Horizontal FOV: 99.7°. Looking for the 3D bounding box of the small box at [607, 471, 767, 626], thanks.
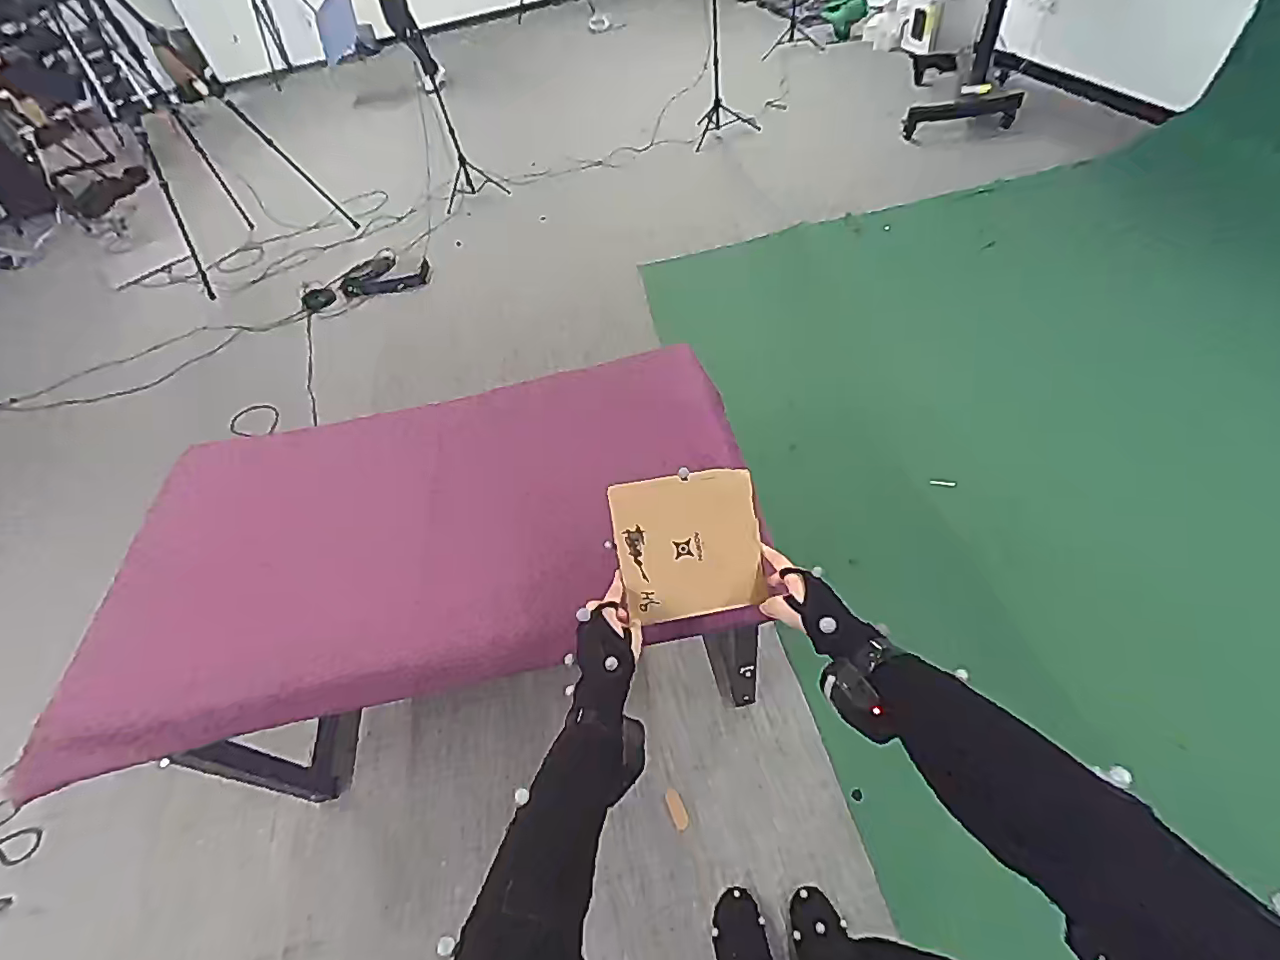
[{"bbox_3d":[0.053,0.080,0.732,0.179,0.176,0.168,-9,92,-4],"label":"small box"}]
